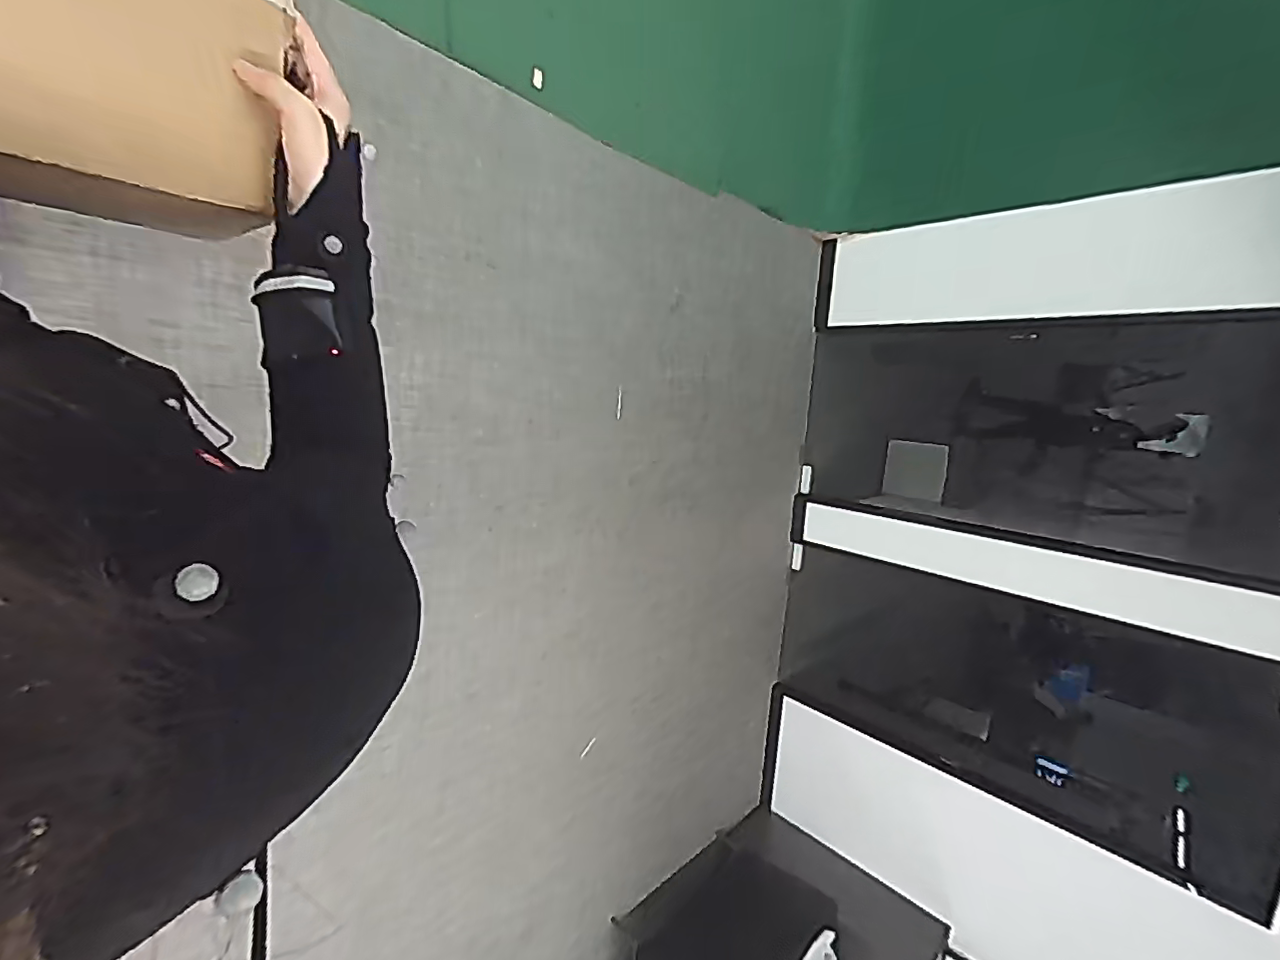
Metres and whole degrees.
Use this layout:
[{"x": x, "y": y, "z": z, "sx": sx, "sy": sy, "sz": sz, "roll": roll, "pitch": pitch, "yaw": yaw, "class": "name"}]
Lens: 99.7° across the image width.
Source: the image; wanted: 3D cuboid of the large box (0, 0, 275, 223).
[{"x": -0.522, "y": -0.393, "z": 0.374, "sx": 0.408, "sy": 0.320, "sz": 0.320, "roll": -5, "pitch": 107, "yaw": -44, "class": "large box"}]
